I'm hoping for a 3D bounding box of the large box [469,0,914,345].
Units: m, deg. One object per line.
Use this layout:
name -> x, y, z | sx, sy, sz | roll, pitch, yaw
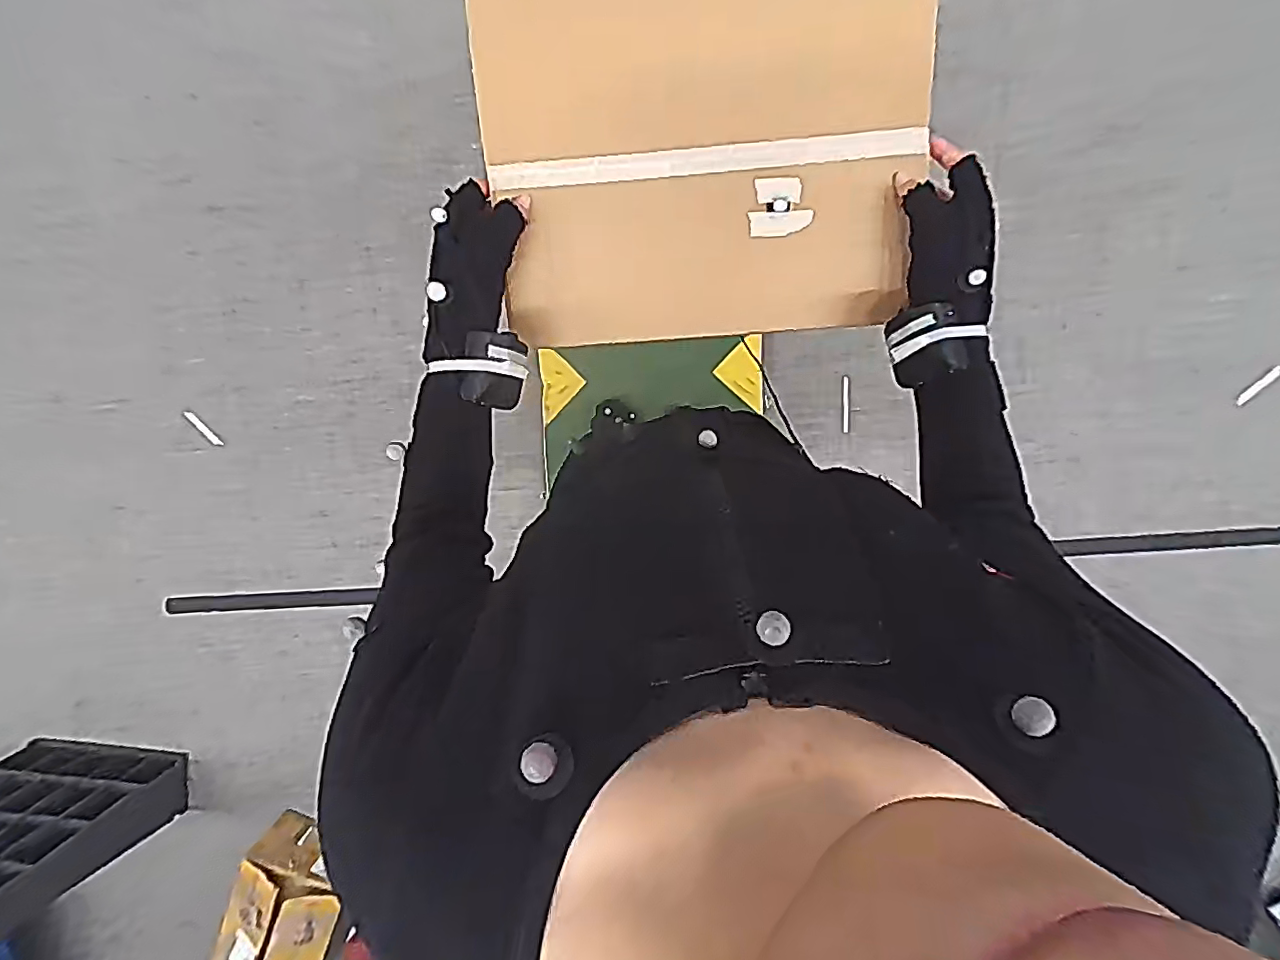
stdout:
large box -> 0.055, -0.344, 0.658 | 0.408, 0.320, 0.320 | -5, 106, 1
